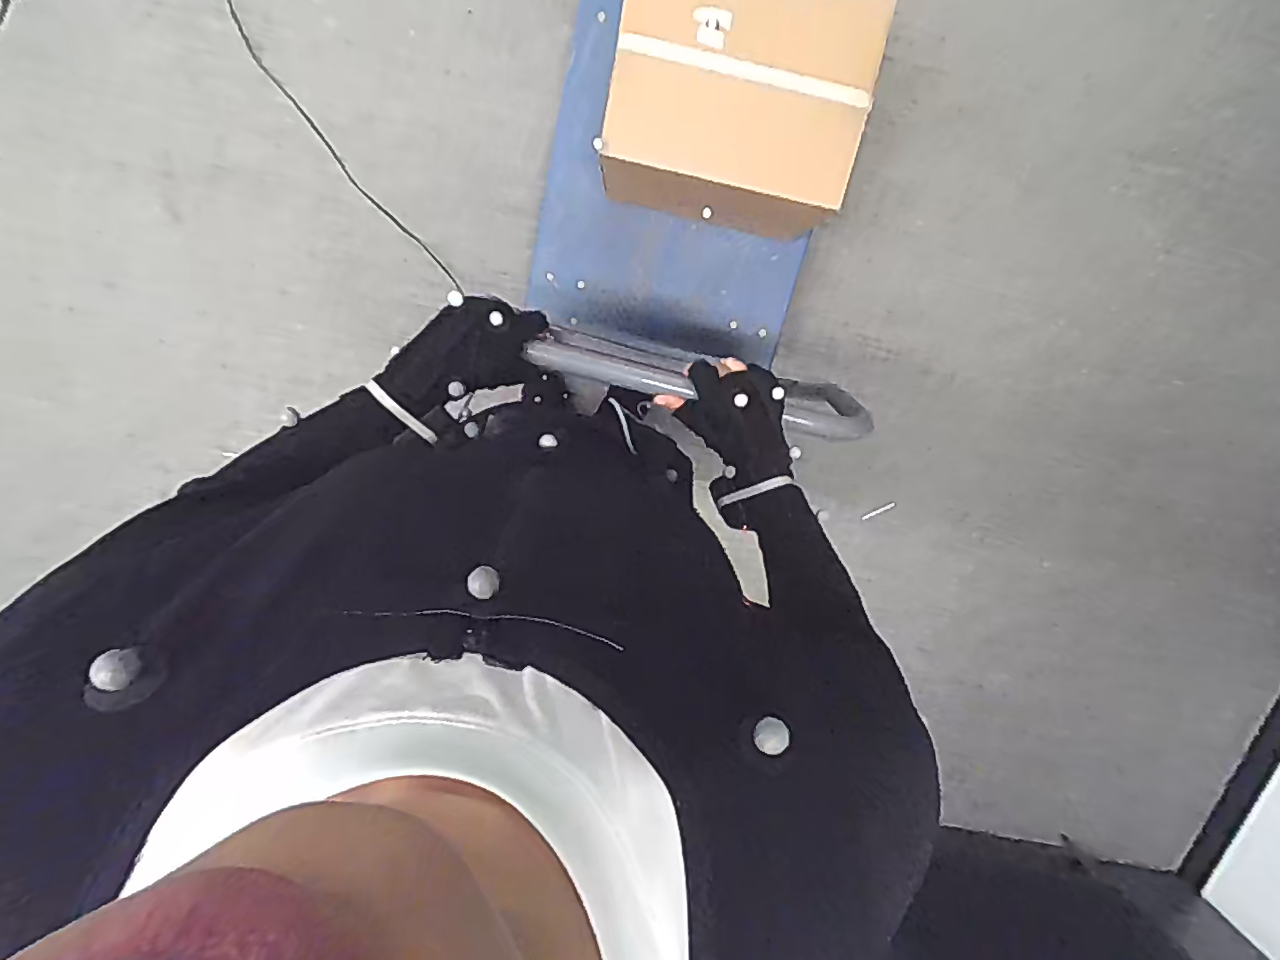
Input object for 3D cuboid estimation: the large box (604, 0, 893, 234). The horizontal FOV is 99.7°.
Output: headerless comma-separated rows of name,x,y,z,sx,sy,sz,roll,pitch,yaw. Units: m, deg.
large box,0.164,-0.670,0.986,0.408,0.320,0.320,11,104,-4
